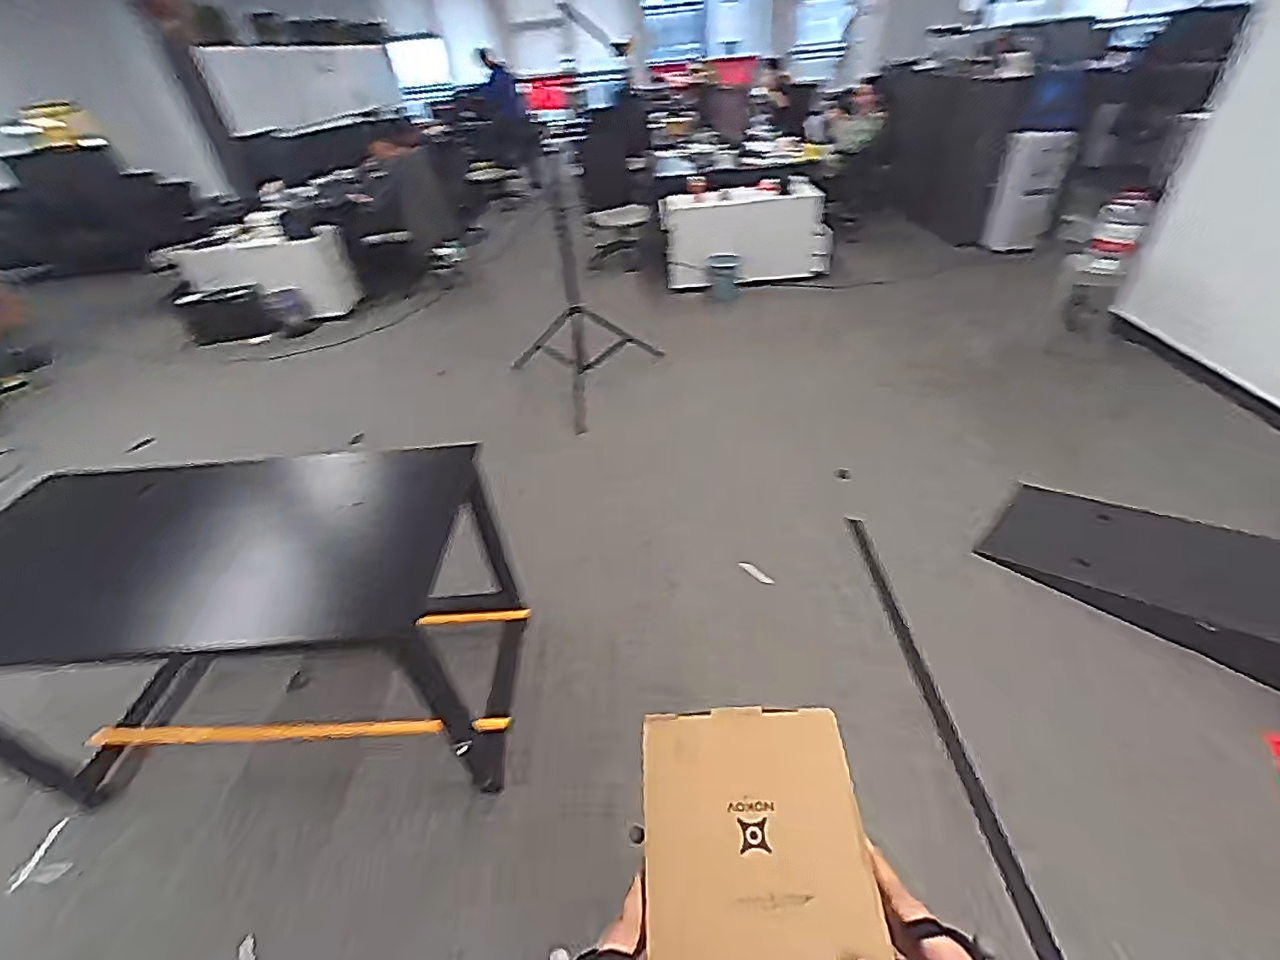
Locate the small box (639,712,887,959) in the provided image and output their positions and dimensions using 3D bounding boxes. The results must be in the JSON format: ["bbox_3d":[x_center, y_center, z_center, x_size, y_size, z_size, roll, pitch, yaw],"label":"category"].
[{"bbox_3d":[0.084,0.319,0.466,0.168,0.176,0.179,-4,49,2],"label":"small box"}]
